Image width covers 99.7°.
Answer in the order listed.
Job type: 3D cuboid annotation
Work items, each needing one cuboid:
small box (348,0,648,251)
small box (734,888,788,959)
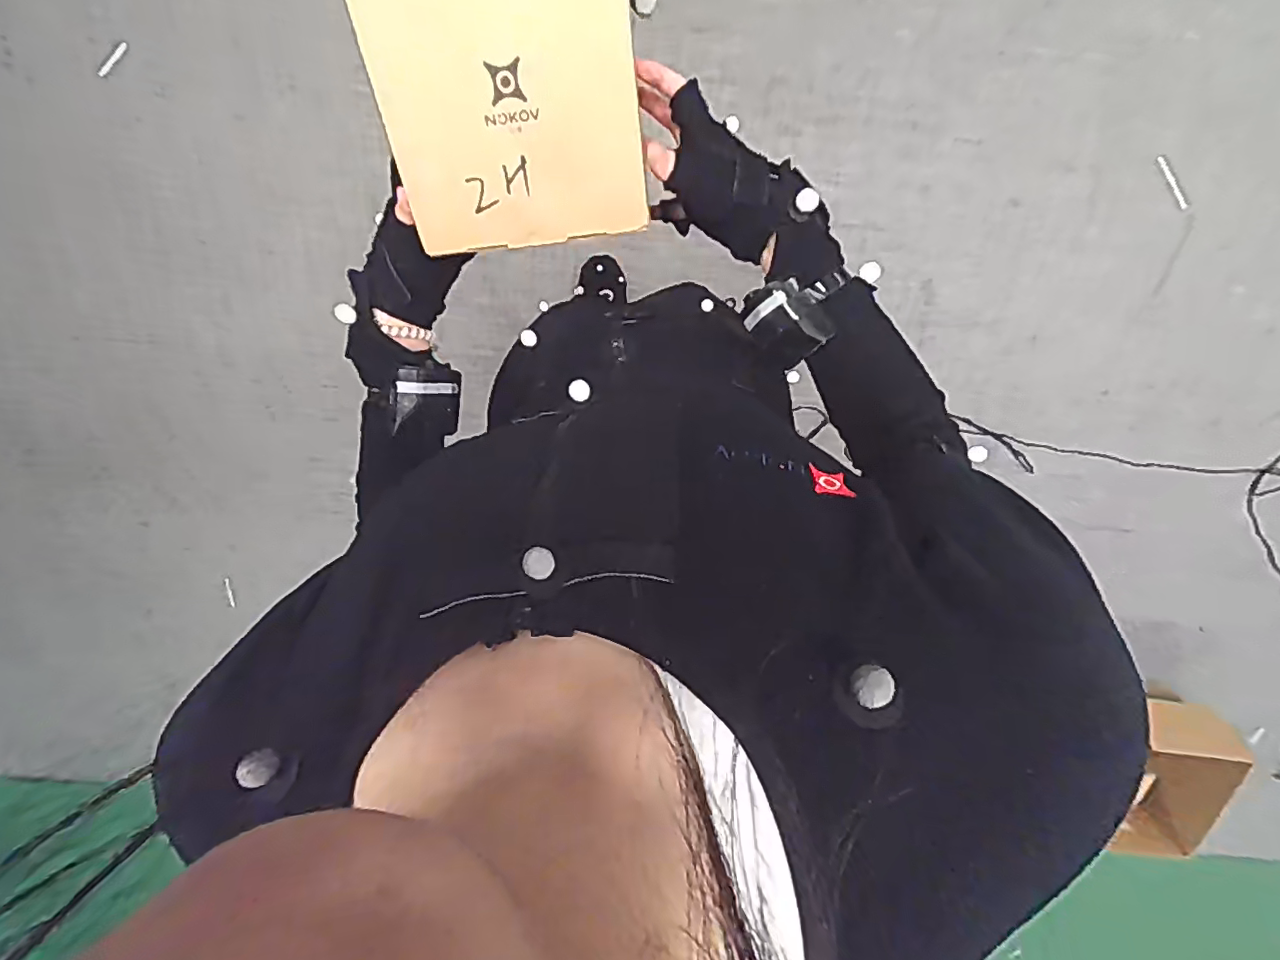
[{"bbox_3d":[-0.084,-0.284,0.402,0.168,0.176,0.179,-5,124,3],"label":"small box"},{"bbox_3d":[0.477,1.773,2.164,0.179,0.176,0.168,1,112,0],"label":"small box"}]
